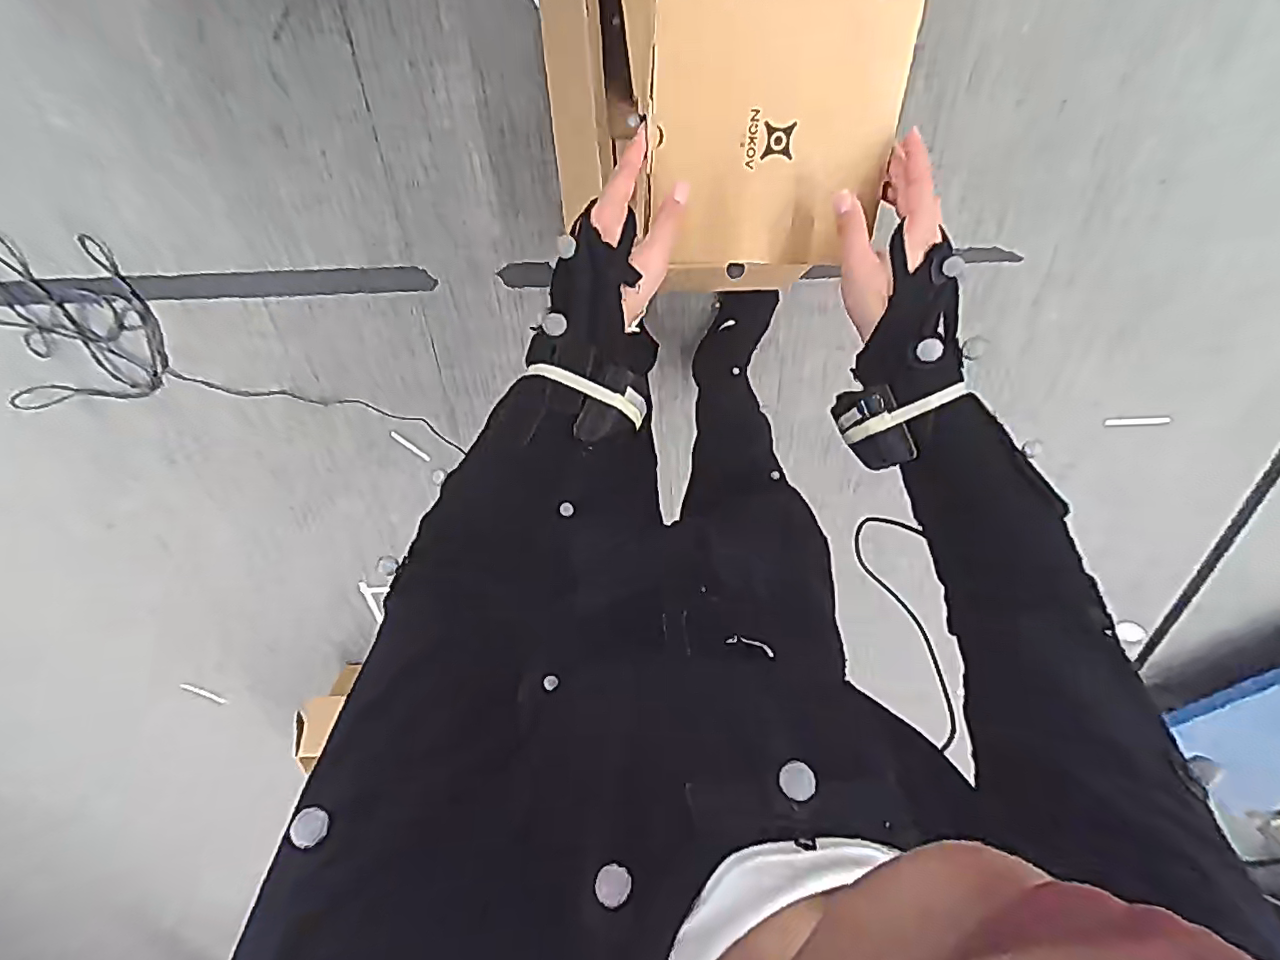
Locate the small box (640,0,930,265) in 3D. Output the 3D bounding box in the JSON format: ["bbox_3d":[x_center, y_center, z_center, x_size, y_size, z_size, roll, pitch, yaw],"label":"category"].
[{"bbox_3d":[0.092,-0.280,0.444,0.179,0.176,0.168,0,121,-2],"label":"small box"}]
